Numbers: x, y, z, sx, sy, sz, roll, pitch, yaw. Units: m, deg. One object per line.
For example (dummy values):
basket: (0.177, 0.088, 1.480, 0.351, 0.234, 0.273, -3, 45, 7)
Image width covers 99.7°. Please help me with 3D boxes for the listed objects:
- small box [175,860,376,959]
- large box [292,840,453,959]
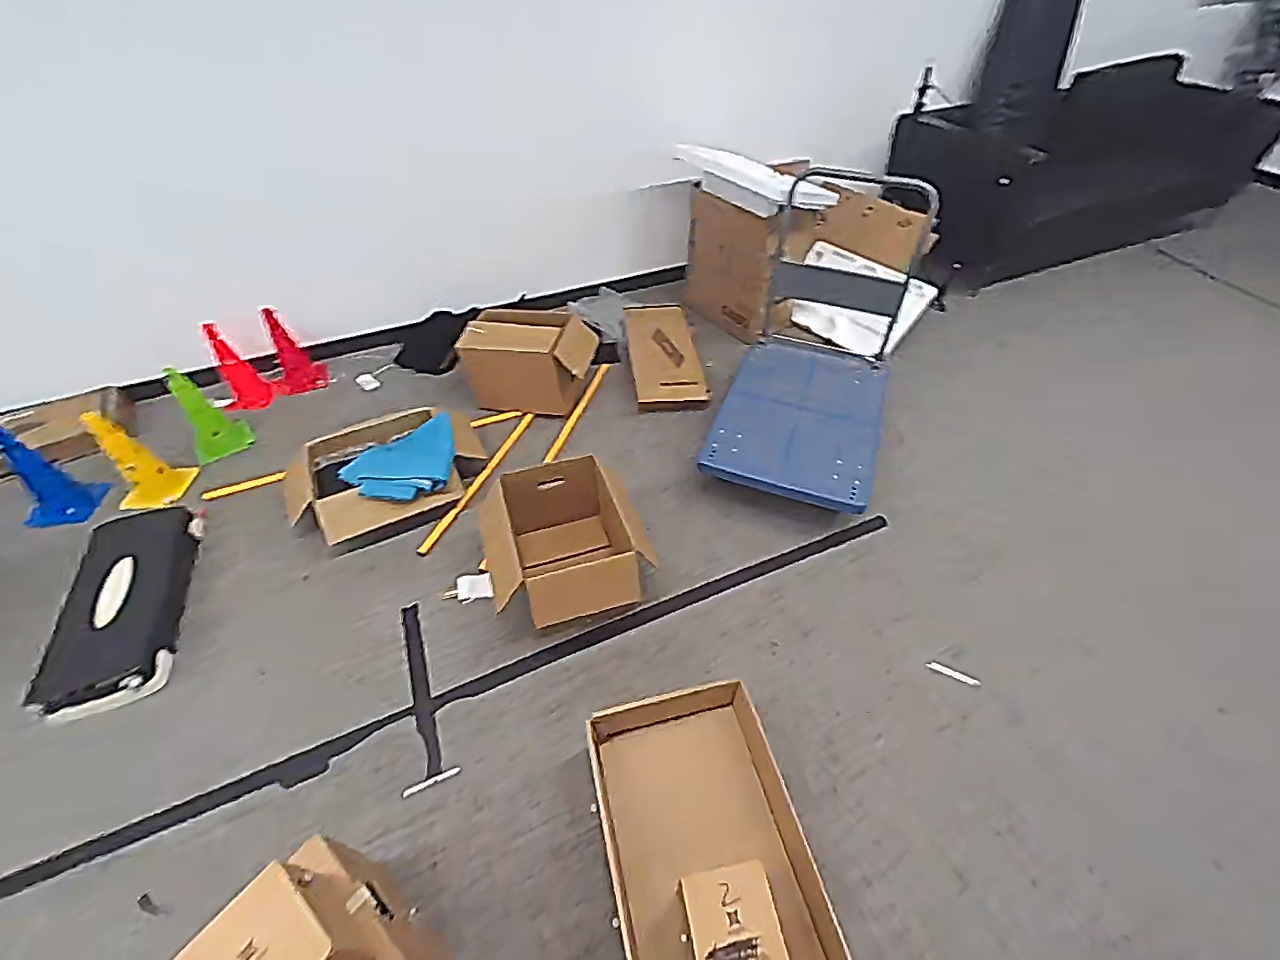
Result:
small box: (-0.541, 0.728, 0.816, 0.179, 0.176, 0.168, 30, 55, 25)
large box: (-0.599, 0.948, 0.946, 0.320, 0.320, 0.408, 30, 54, 27)
